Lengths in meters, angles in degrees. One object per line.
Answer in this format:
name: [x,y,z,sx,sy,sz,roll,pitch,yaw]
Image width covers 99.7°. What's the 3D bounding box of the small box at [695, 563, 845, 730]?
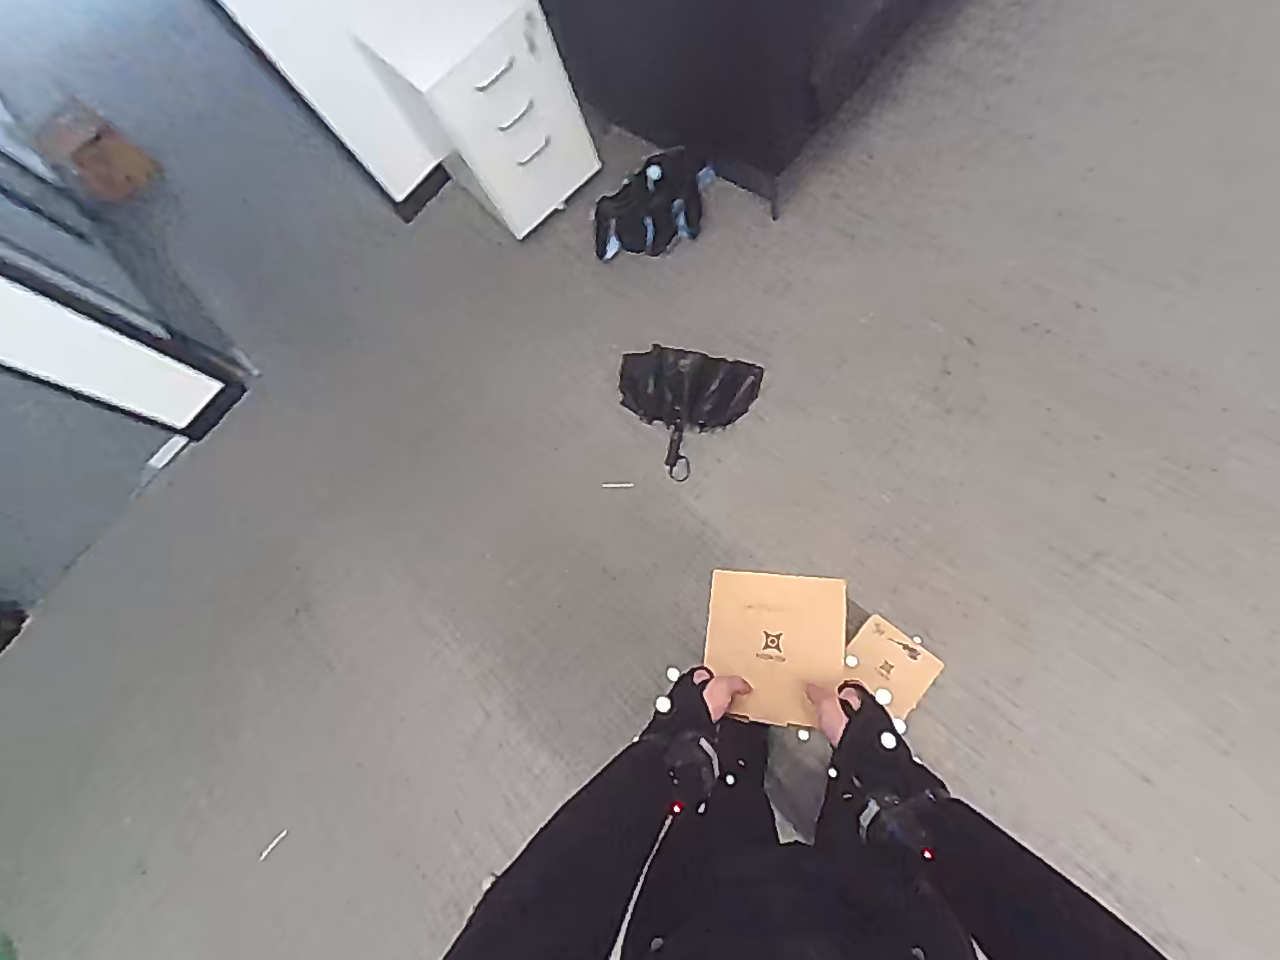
small box: [0.179,0.220,0.710,0.168,0.176,0.179,1,67,20]
